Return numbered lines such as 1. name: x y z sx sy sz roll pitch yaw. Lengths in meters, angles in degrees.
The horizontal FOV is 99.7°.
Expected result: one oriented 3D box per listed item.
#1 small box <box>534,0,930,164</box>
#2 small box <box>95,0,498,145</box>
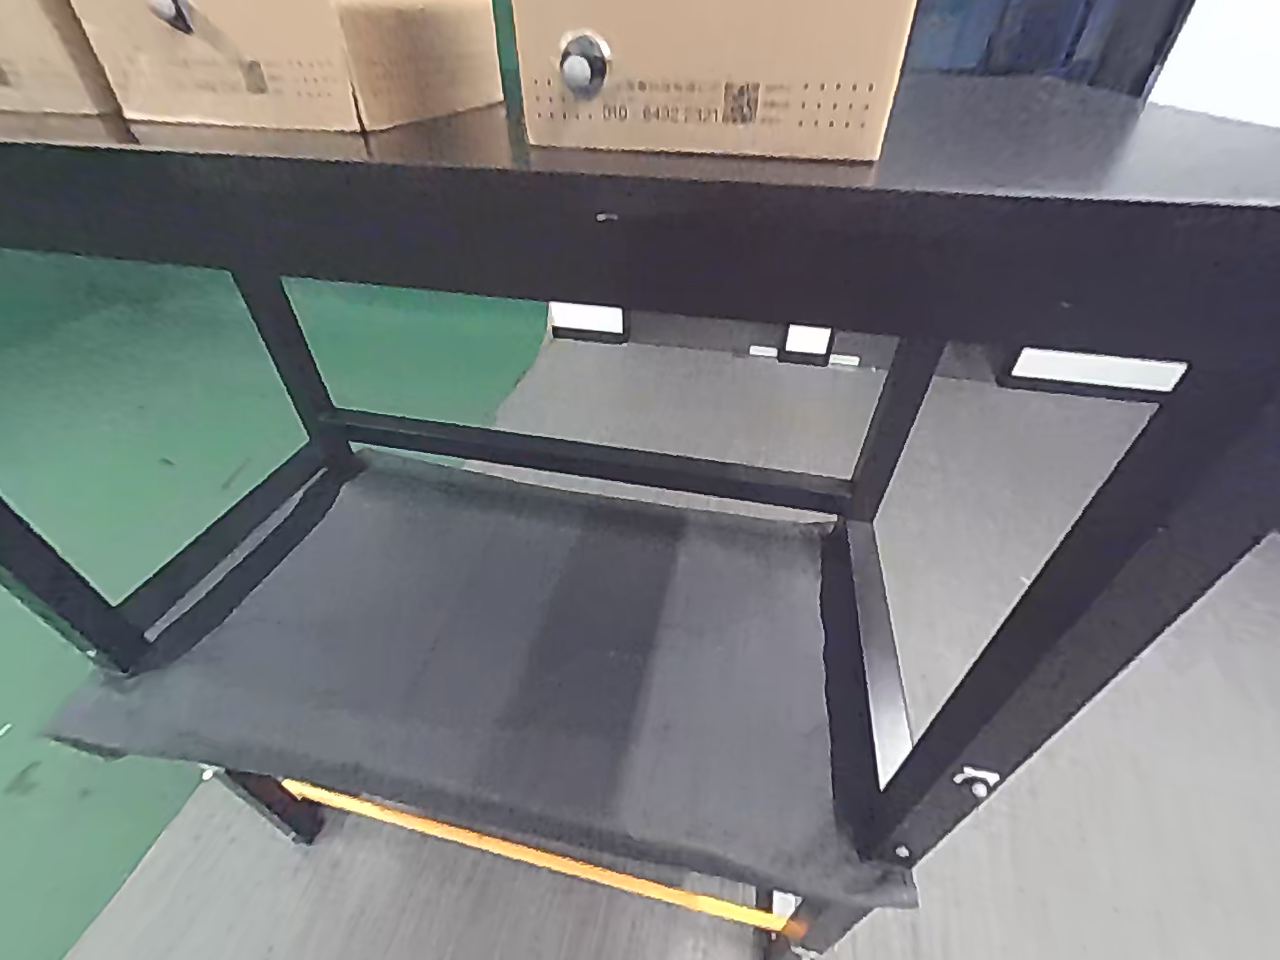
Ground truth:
1. small box: 0.051 -0.261 0.258 0.168 0.176 0.179 10 40 11
2. small box: -0.197 -0.312 0.318 0.168 0.176 0.179 9 41 10
